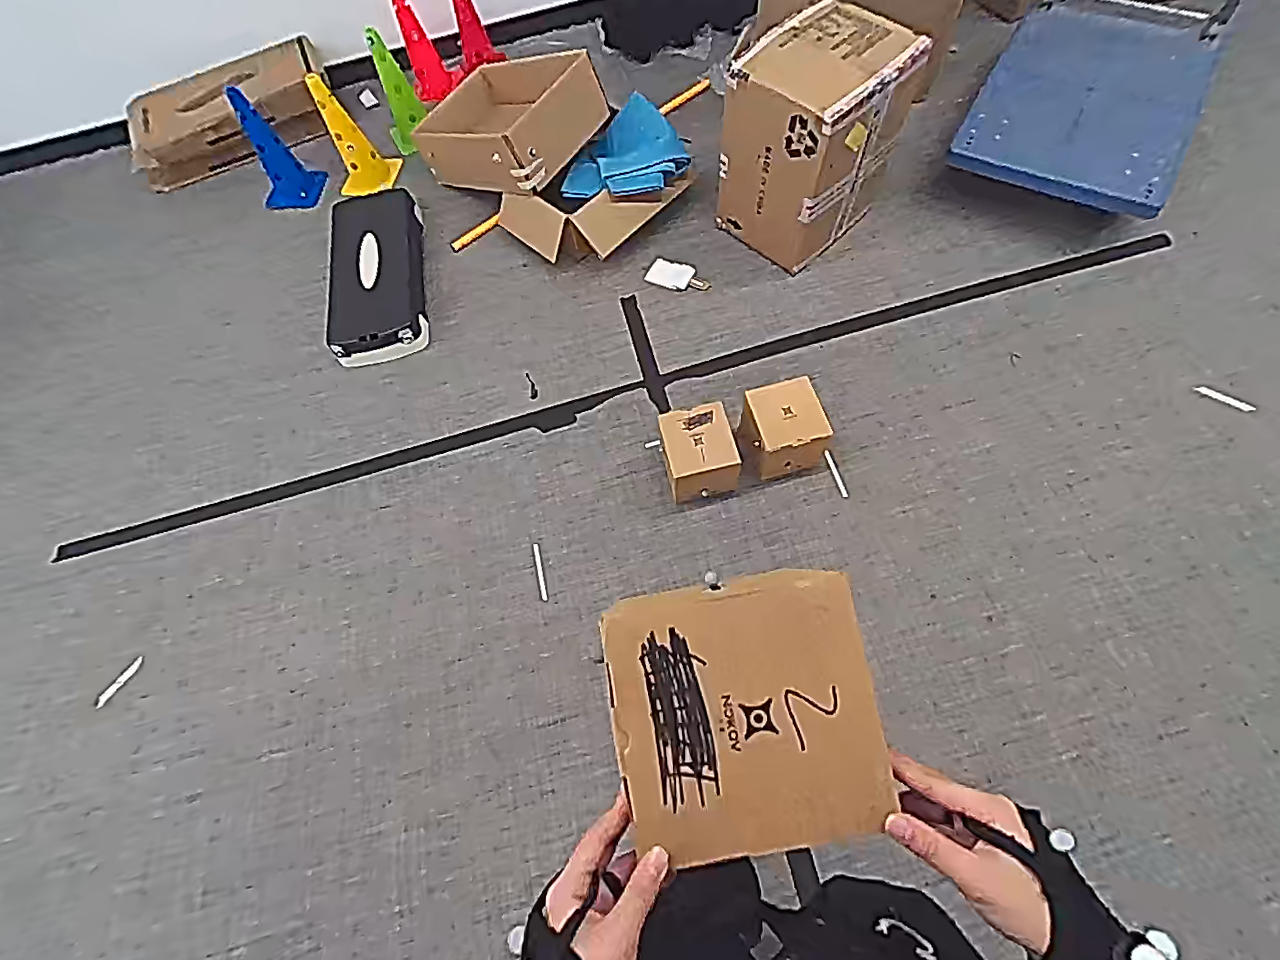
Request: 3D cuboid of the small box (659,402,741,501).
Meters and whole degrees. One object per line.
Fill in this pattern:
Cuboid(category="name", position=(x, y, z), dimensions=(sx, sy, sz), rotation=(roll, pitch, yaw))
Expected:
Cuboid(category="small box", position=(0.145, -0.068, 1.363), dimensions=(0.168, 0.176, 0.179), rotation=(-13, 66, -1))

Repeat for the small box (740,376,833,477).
Cuboid(category="small box", position=(0.362, -0.131, 1.375), dimensions=(0.168, 0.176, 0.179), rotation=(-15, 66, -2))
